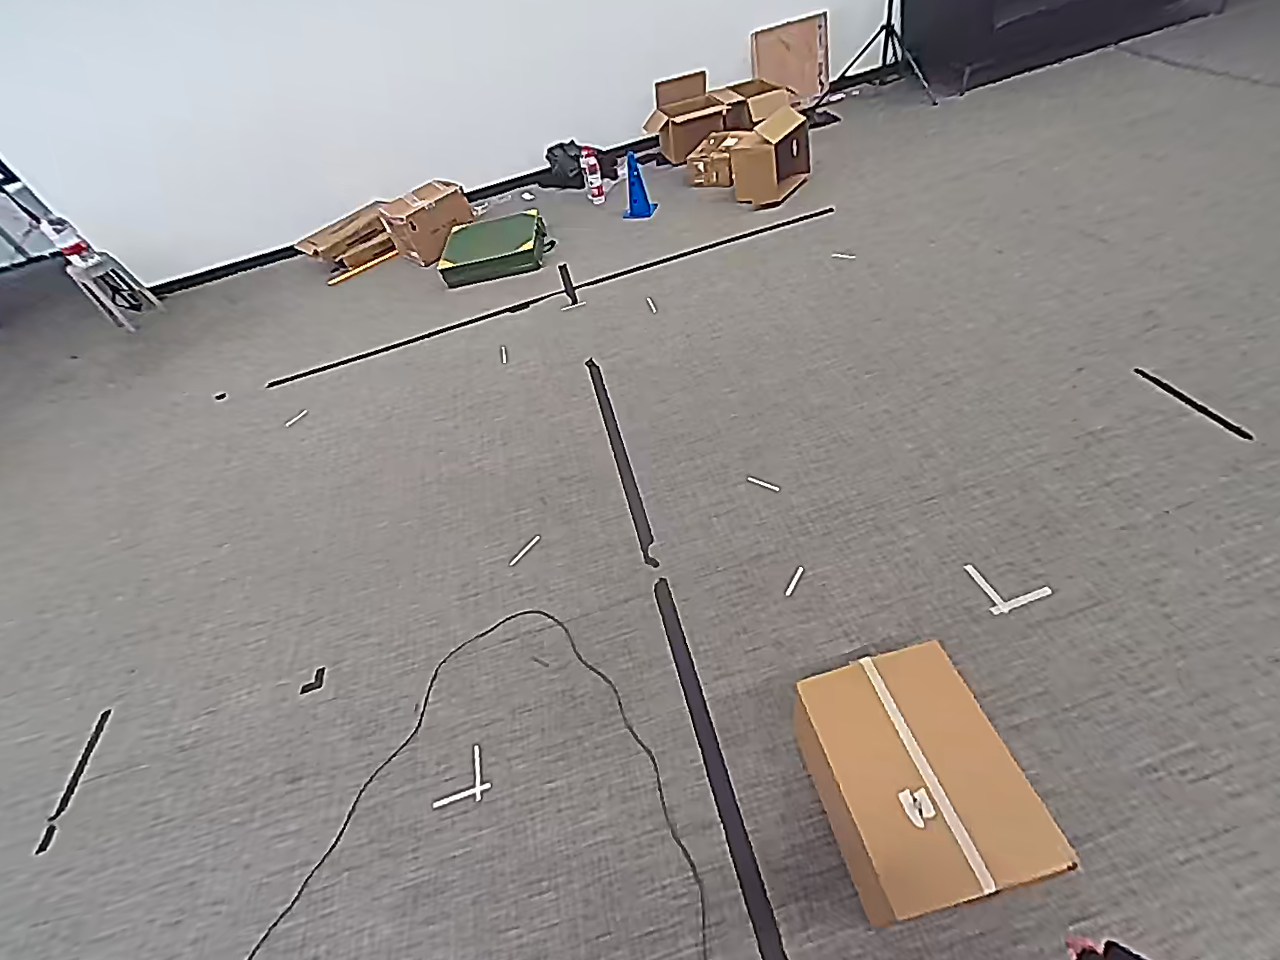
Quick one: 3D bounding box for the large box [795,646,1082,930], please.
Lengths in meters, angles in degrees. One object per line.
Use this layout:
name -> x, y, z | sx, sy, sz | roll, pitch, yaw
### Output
large box -> 0.548, 0.623, 1.108 | 0.320, 0.320, 0.408 | -18, 47, 0
